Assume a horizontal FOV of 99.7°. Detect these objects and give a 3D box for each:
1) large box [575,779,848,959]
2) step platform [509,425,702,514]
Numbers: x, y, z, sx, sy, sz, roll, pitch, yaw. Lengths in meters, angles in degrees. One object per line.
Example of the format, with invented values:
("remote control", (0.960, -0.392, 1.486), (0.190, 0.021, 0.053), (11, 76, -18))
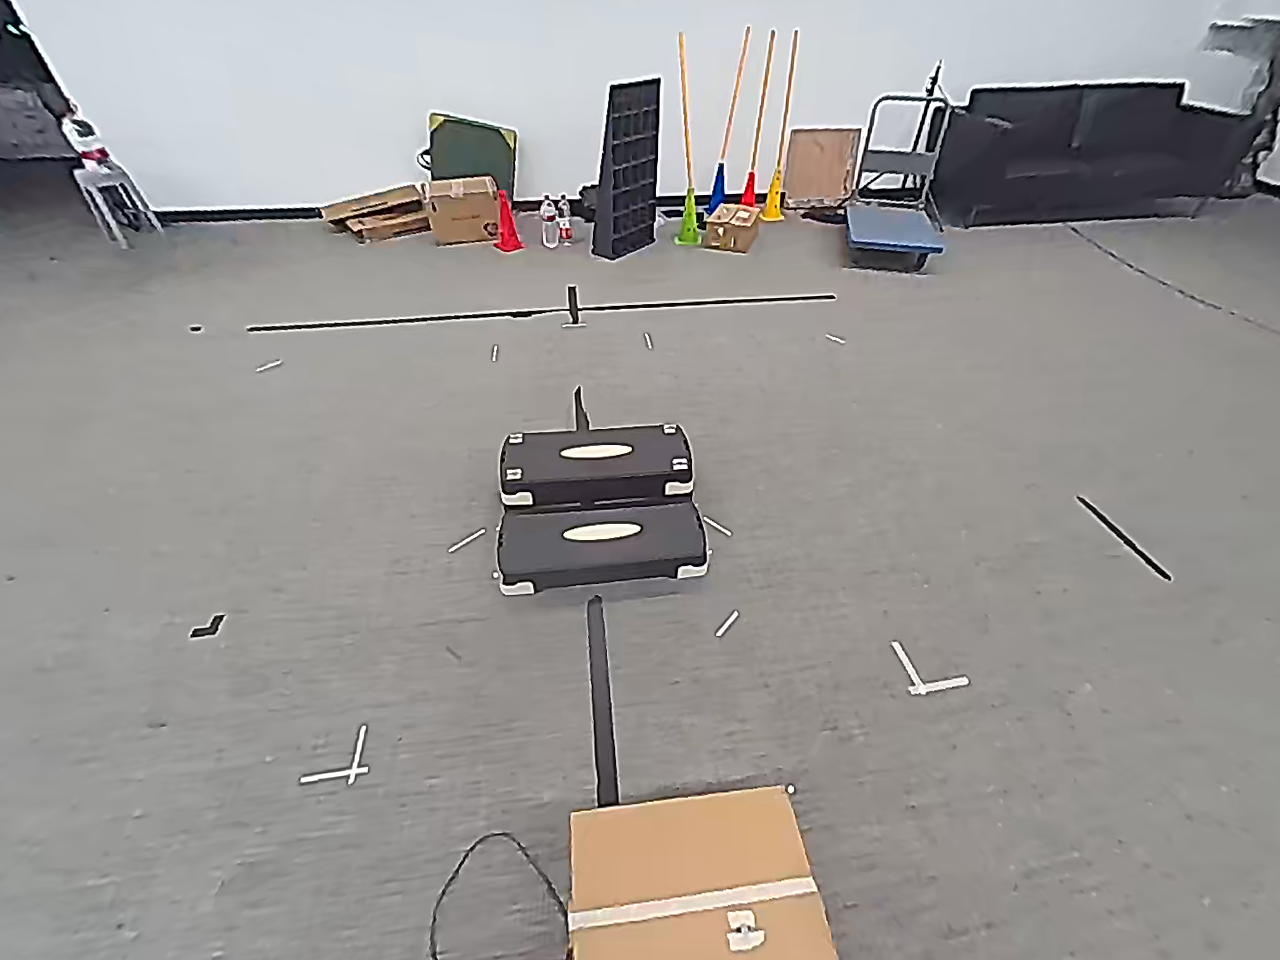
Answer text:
("large box", (0.099, 0.781, 0.962), (0.408, 0.320, 0.320), (-4, 42, -6))
("step platform", (-0.121, -0.047, 1.953), (0.684, 0.204, 0.286), (0, 42, -2))
